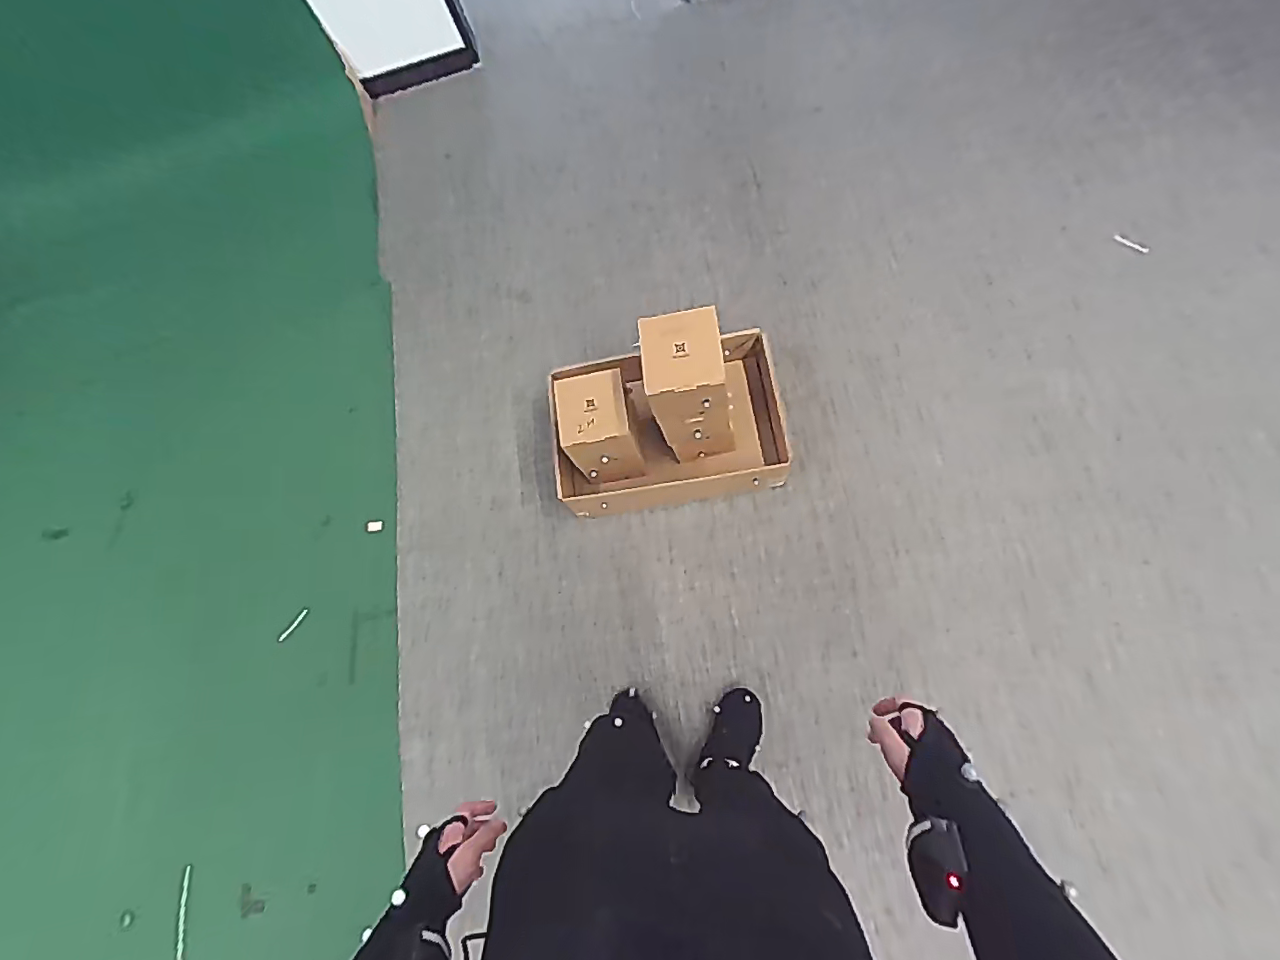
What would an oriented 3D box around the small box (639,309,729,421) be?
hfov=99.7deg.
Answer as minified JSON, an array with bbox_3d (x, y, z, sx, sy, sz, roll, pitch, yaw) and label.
[{"bbox_3d":[0.099,-0.238,1.172,0.168,0.176,0.179,-7,73,9],"label":"small box"}]

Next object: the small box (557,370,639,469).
[{"bbox_3d":[-0.101,-0.145,1.345,0.168,0.176,0.179,-10,72,6],"label":"small box"}]
